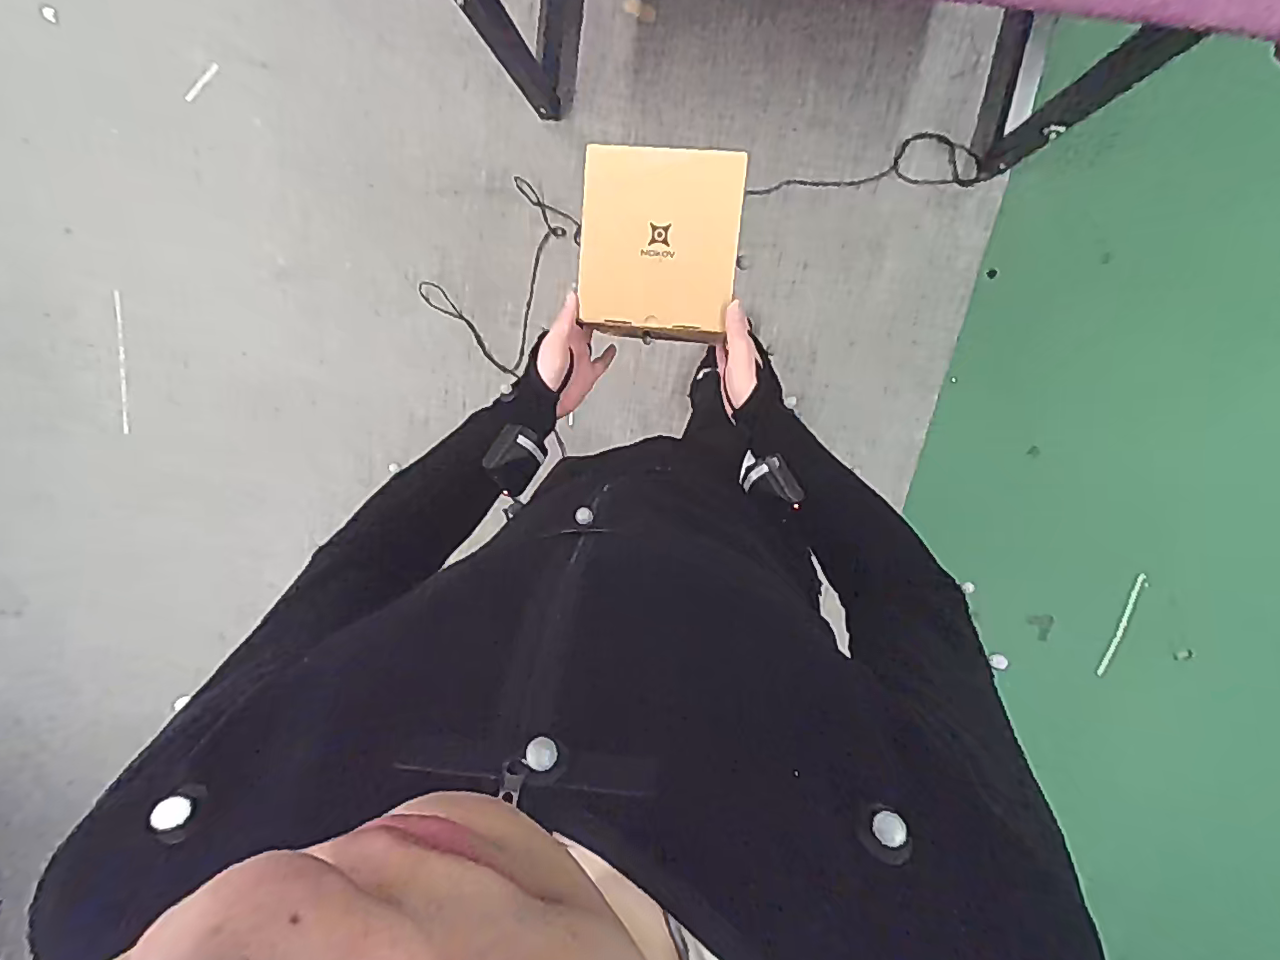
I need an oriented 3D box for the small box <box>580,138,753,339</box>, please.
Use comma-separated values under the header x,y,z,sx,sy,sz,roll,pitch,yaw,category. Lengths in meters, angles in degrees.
x,y,z,sx,sy,sz,roll,pitch,yaw,category
0.029,-0.264,0.629,0.168,0.176,0.179,5,102,3,small box
